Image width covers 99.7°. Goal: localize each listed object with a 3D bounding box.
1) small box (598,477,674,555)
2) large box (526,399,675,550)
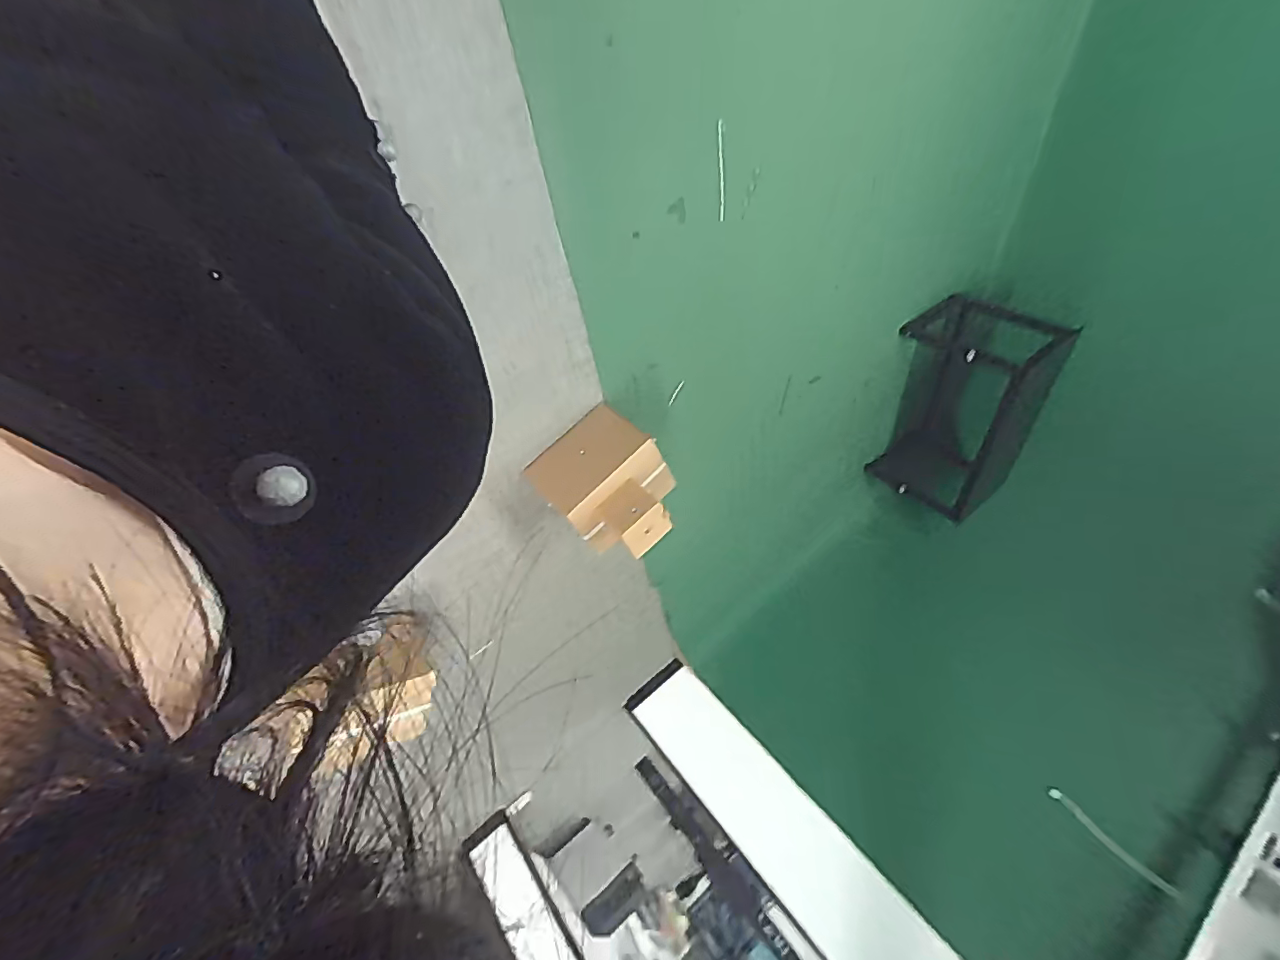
[{"bbox_3d":[-0.015,0.120,1.881,0.179,0.176,0.168,-41,139,-11],"label":"small box"},{"bbox_3d":[-0.145,-0.023,2.037,0.408,0.320,0.320,-44,143,-9],"label":"large box"}]
